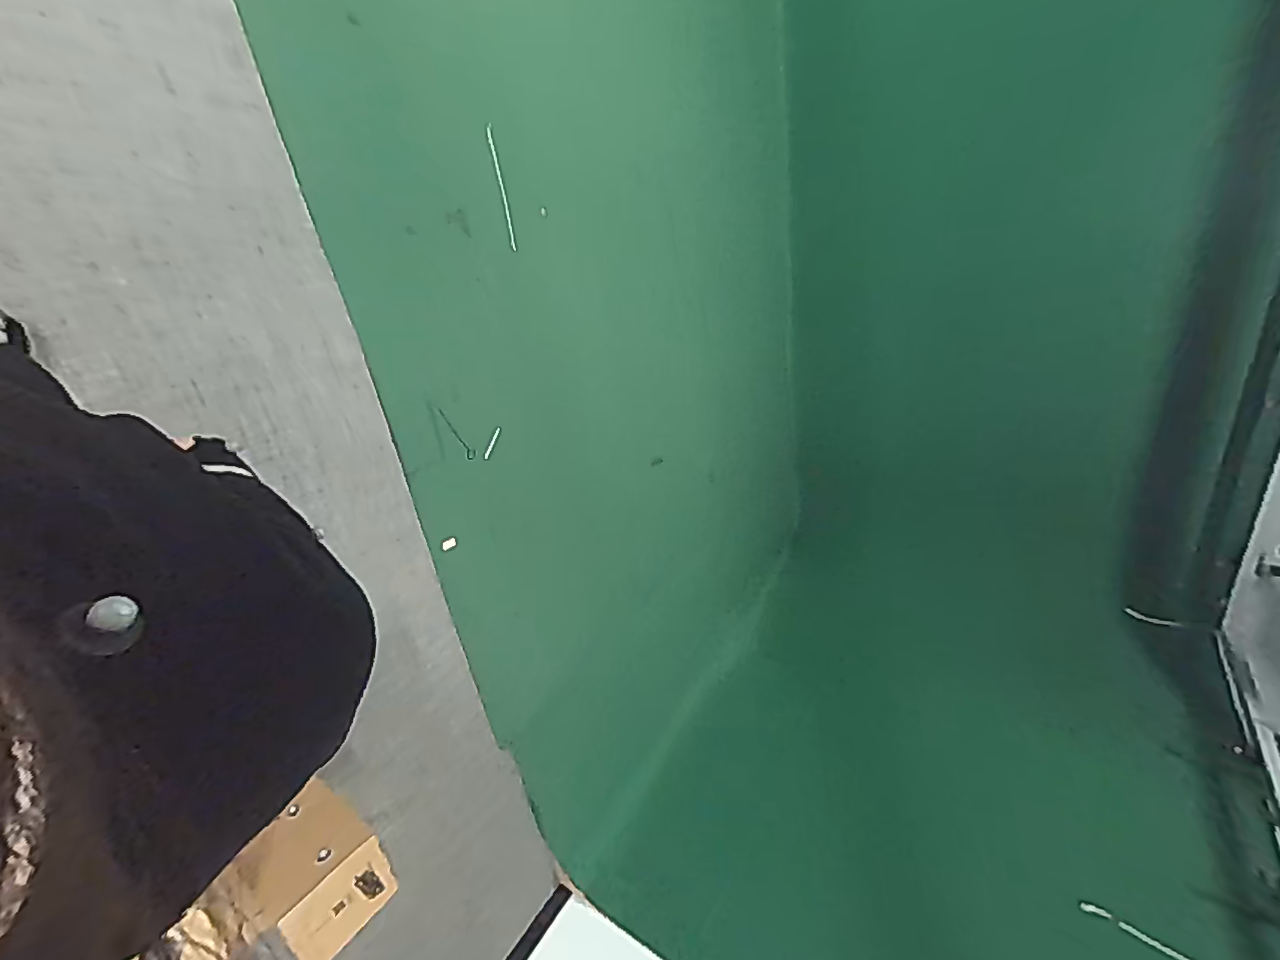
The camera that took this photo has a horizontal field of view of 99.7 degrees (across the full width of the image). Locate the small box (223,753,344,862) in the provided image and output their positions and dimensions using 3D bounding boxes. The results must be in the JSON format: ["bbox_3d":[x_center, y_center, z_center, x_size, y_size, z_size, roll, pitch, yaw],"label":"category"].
[{"bbox_3d":[-0.725,0.718,1.135,0.168,0.176,0.179,-34,126,-47],"label":"small box"}]

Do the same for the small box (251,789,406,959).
[{"bbox_3d":[-0.593,0.741,1.036,0.179,0.176,0.168,-36,126,-47],"label":"small box"}]
